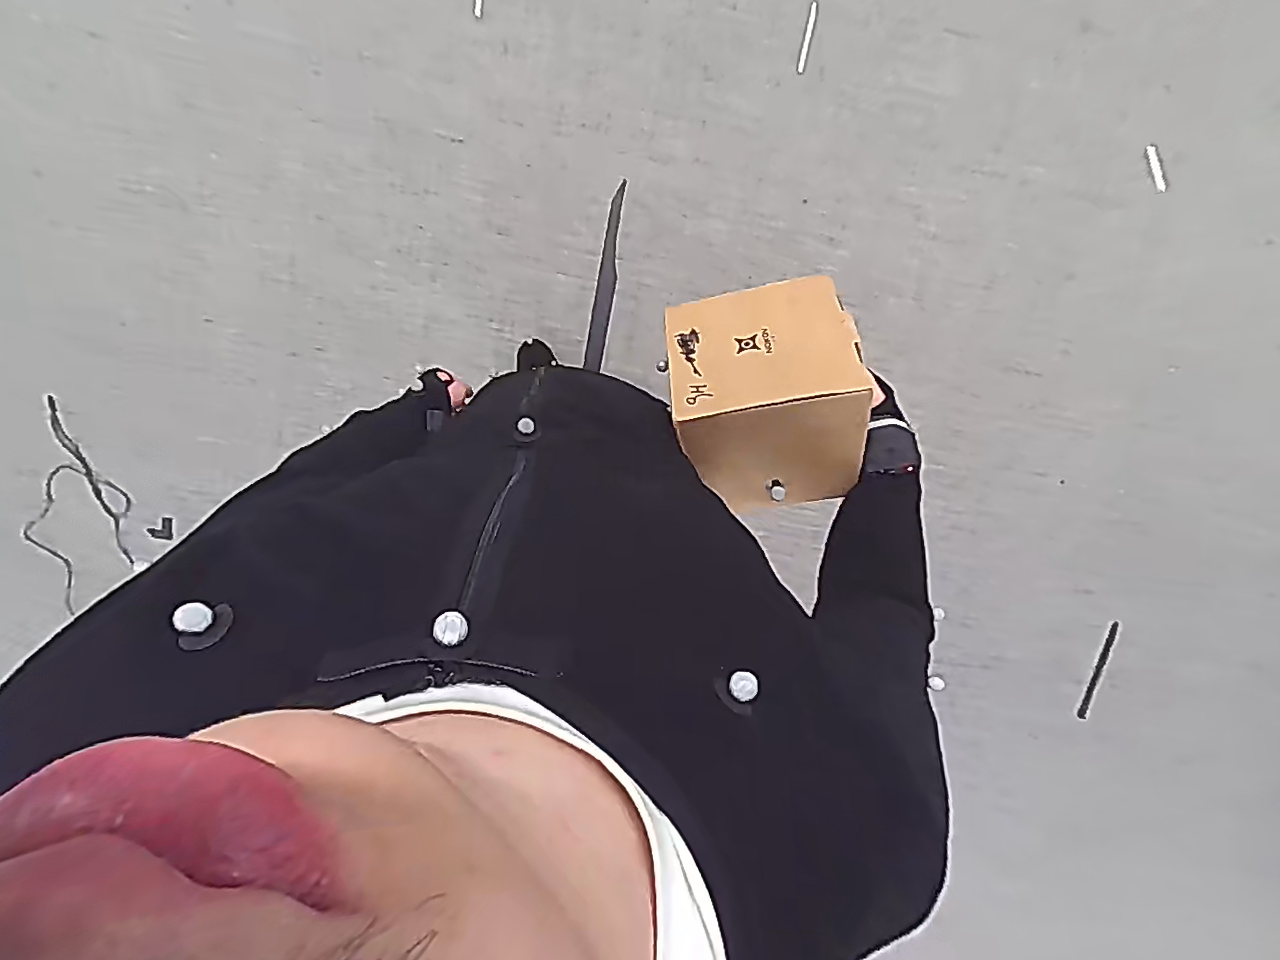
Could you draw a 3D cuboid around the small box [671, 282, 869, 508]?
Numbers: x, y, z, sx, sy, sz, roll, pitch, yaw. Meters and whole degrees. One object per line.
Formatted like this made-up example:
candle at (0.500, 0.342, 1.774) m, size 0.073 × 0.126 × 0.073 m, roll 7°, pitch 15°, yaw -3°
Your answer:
small box at (0.135, -0.087, 0.602) m, size 0.179 × 0.168 × 0.176 m, roll -8°, pitch 143°, yaw 10°
